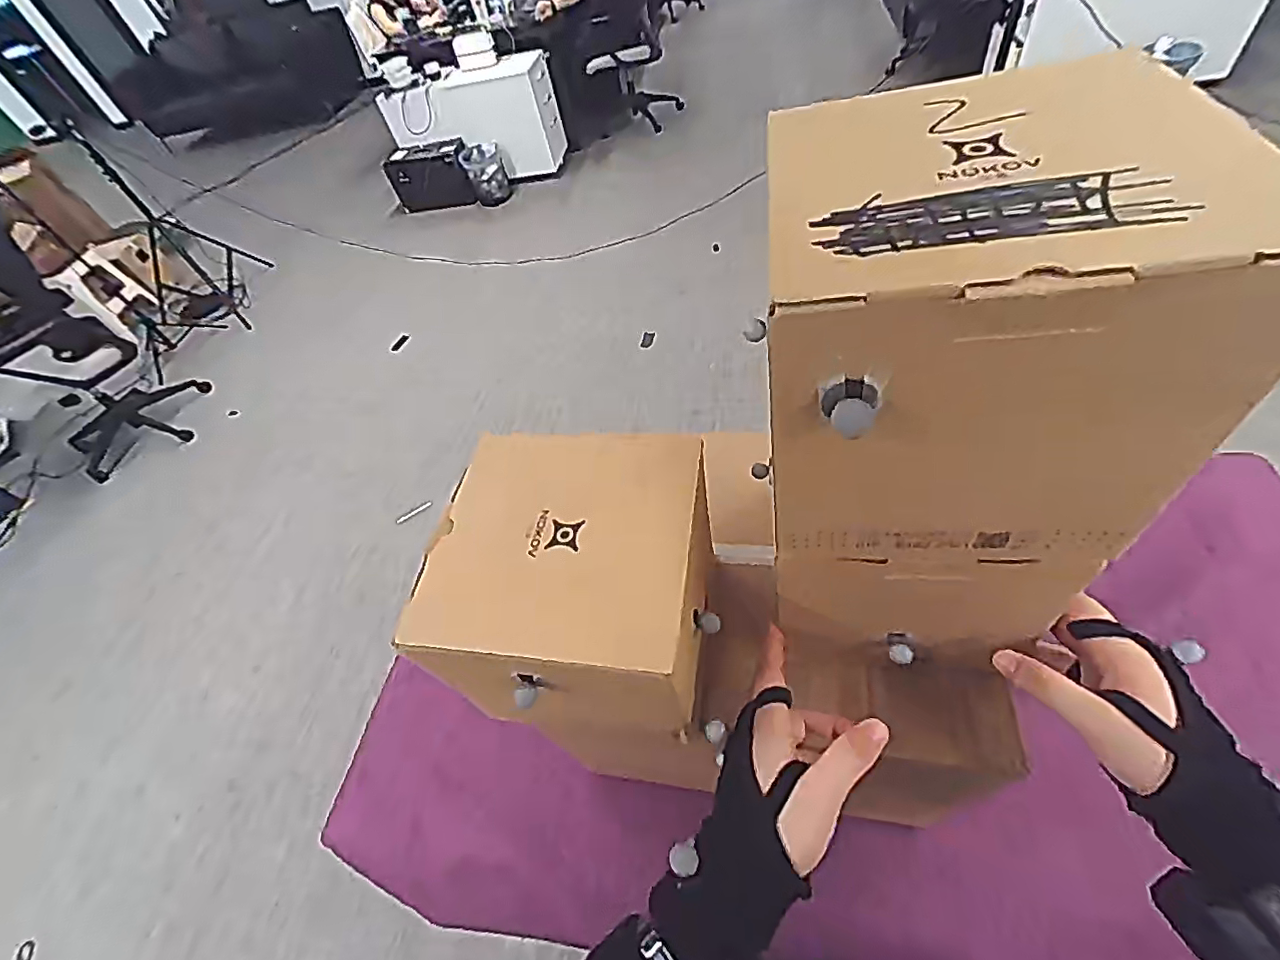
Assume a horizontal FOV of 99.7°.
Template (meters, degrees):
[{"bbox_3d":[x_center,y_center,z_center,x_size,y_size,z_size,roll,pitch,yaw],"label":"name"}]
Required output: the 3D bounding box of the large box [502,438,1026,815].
[{"bbox_3d":[0.124,0.166,0.616,0.408,0.320,0.320,0,51,14],"label":"large box"}]

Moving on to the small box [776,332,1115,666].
[{"bbox_3d":[0.186,0.017,0.399,0.168,0.176,0.179,-1,52,15],"label":"small box"}]
